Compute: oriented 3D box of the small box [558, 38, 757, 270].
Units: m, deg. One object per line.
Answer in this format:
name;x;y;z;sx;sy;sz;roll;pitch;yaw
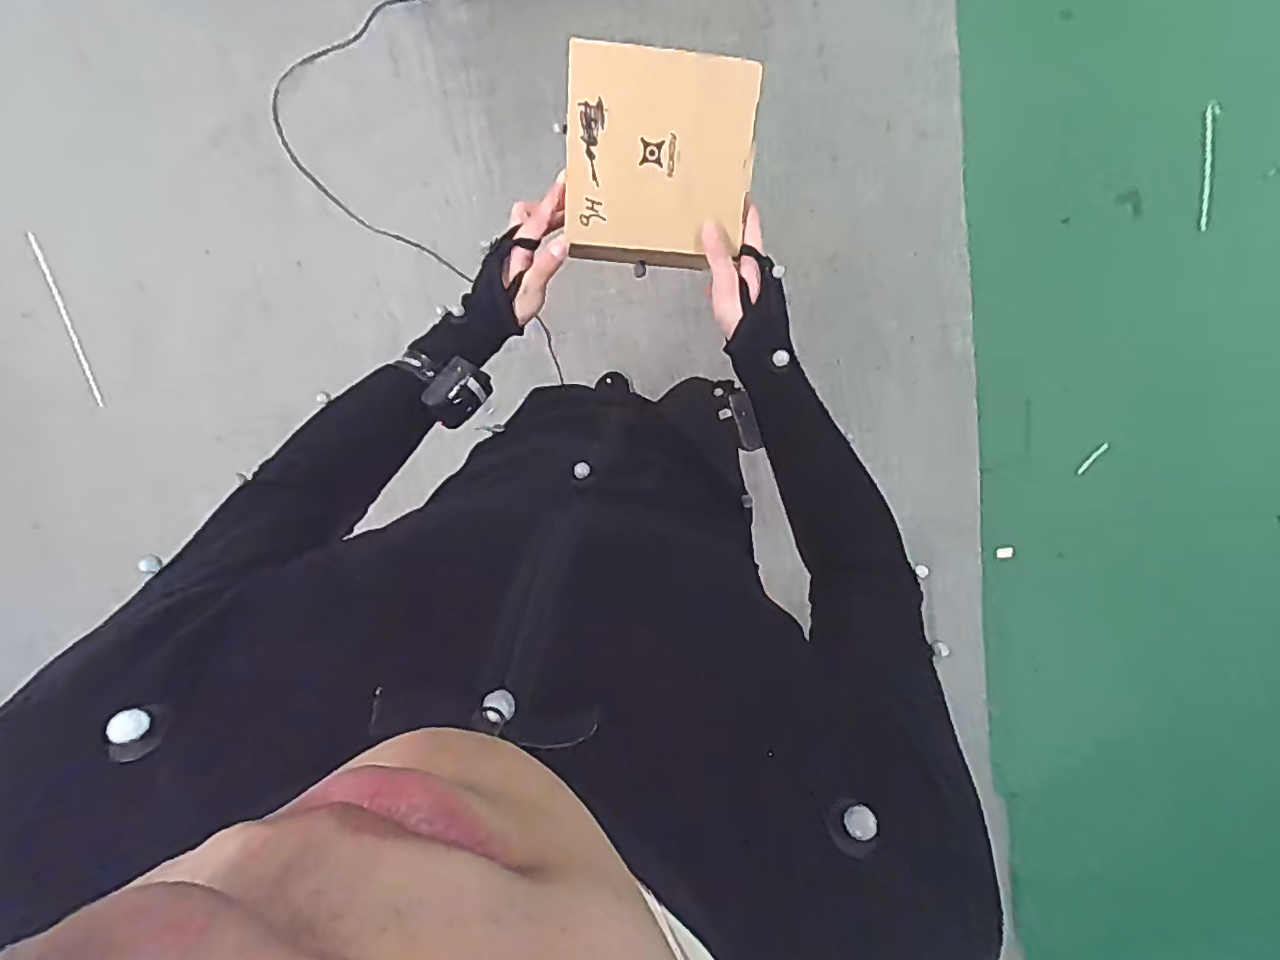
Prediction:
small box;0.005;-0.322;0.573;0.179;0.176;0.168;2;106;-7
